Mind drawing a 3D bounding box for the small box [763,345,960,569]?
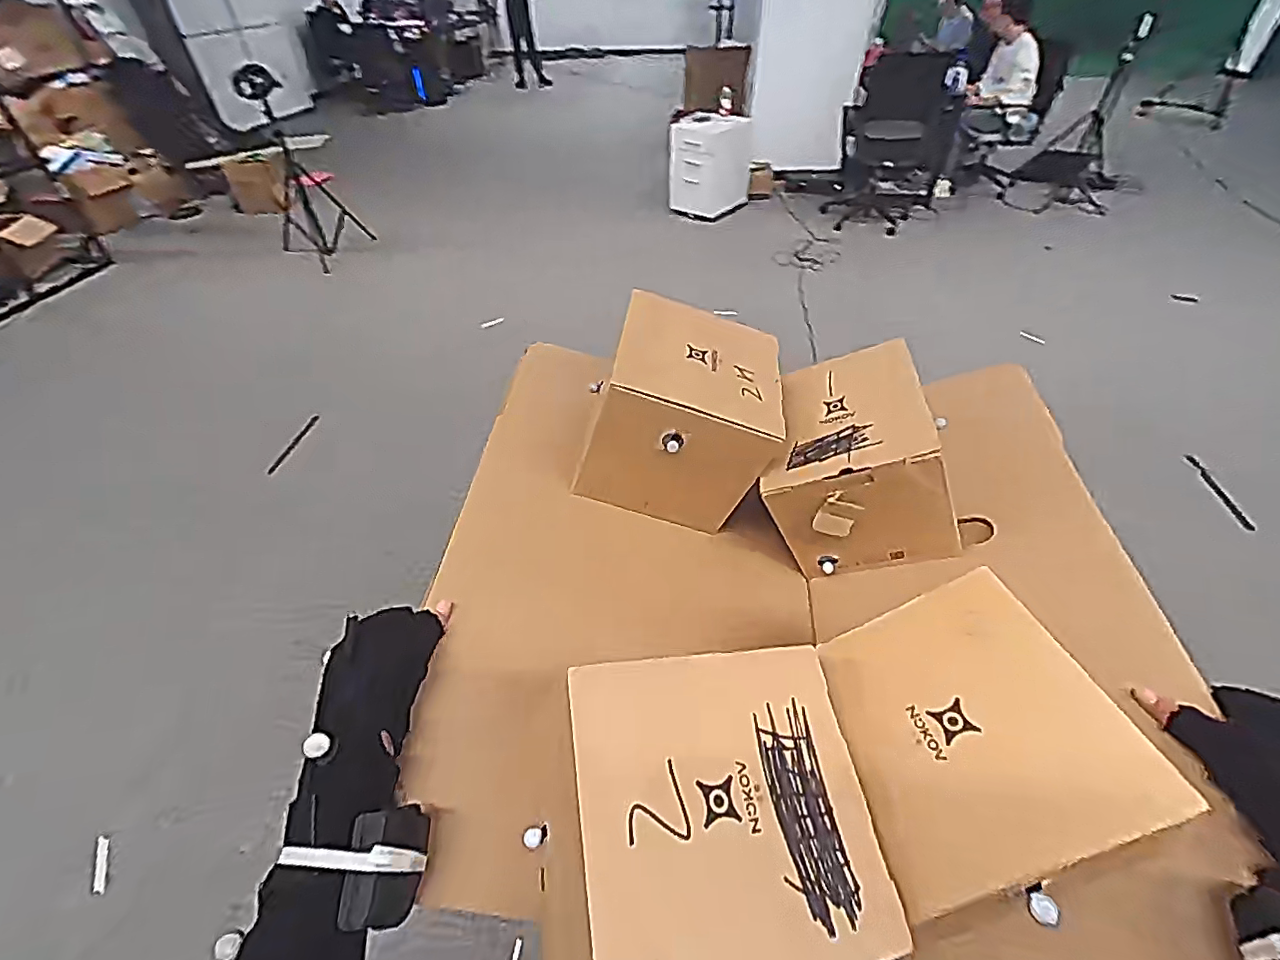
[{"bbox_3d":[0.246,-0.014,0.612,0.168,0.176,0.179,-14,43,26],"label":"small box"}]
